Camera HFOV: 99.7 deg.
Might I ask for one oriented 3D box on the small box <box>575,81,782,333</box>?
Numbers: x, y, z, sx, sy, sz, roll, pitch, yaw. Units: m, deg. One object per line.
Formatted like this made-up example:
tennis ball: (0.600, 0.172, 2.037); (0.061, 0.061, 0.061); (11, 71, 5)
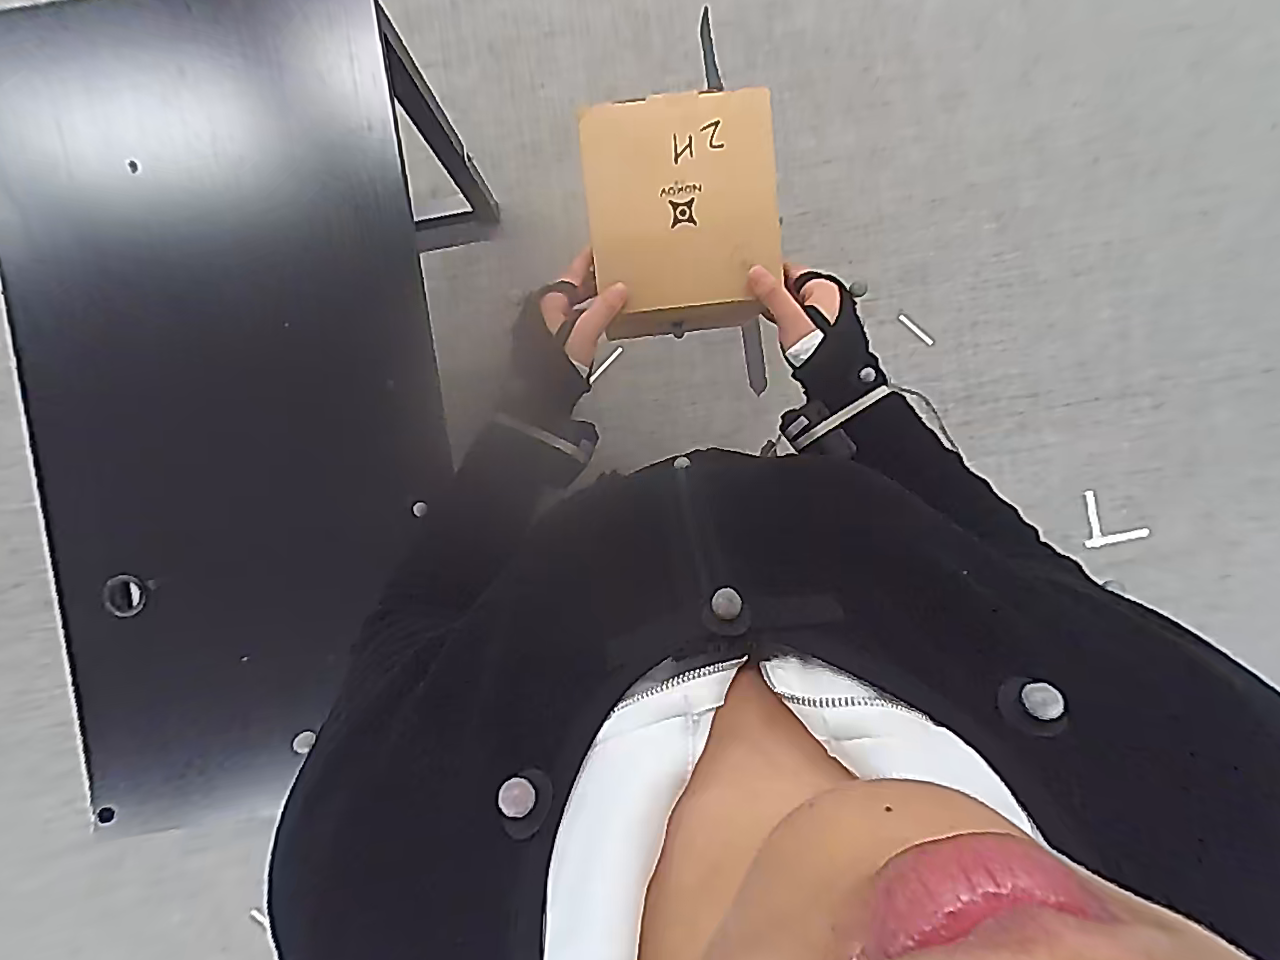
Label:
small box: (0.035, -0.250, 0.543); (0.168, 0.176, 0.179); (-7, 96, 0)
